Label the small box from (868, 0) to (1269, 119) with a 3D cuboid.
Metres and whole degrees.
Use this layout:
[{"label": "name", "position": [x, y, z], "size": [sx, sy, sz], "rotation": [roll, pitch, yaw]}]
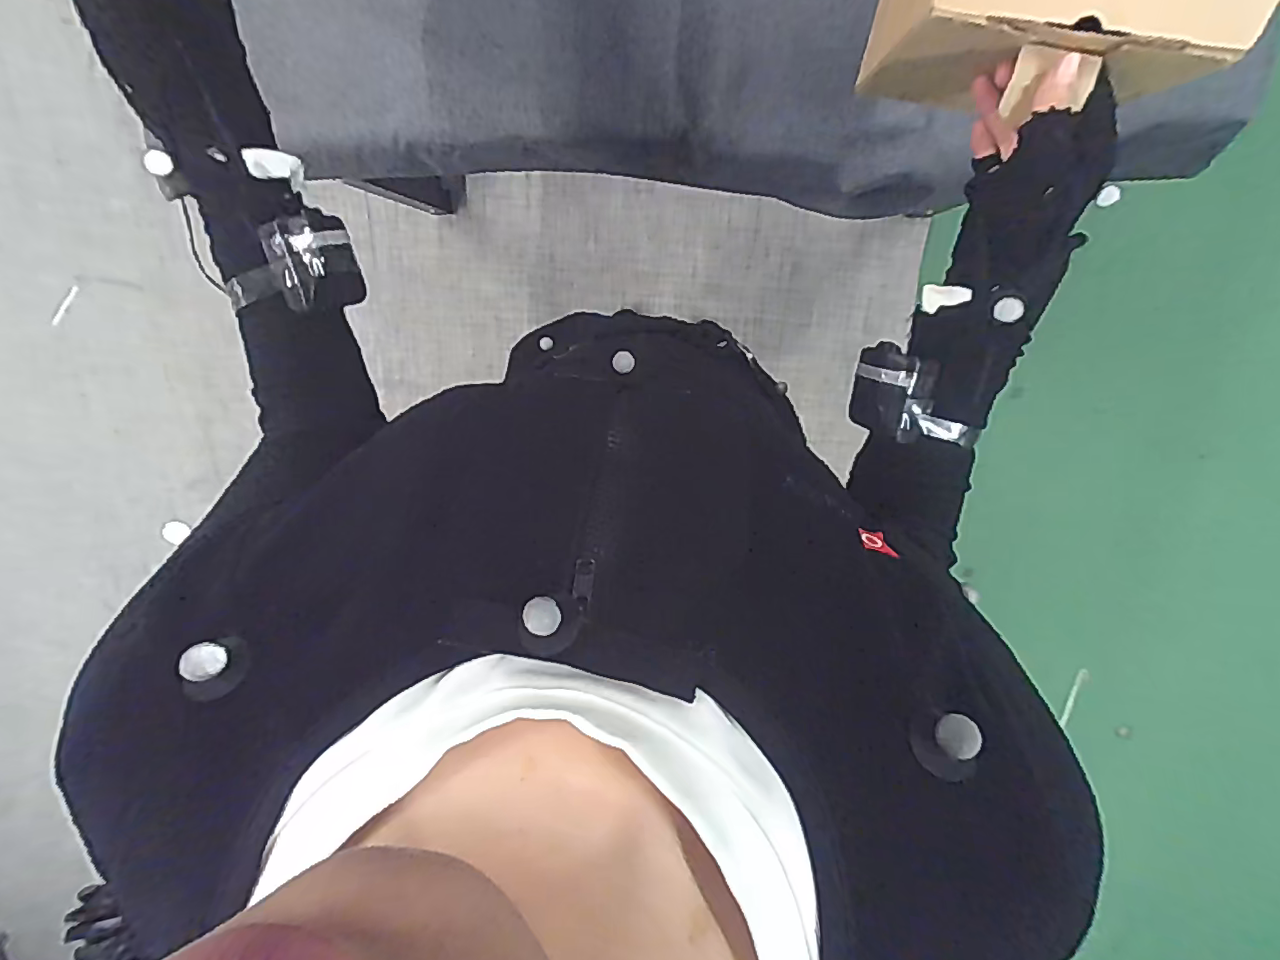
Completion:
[{"label": "small box", "position": [0.256, -0.341, 0.324], "size": [0.168, 0.176, 0.179], "rotation": [11, 115, 2]}]
